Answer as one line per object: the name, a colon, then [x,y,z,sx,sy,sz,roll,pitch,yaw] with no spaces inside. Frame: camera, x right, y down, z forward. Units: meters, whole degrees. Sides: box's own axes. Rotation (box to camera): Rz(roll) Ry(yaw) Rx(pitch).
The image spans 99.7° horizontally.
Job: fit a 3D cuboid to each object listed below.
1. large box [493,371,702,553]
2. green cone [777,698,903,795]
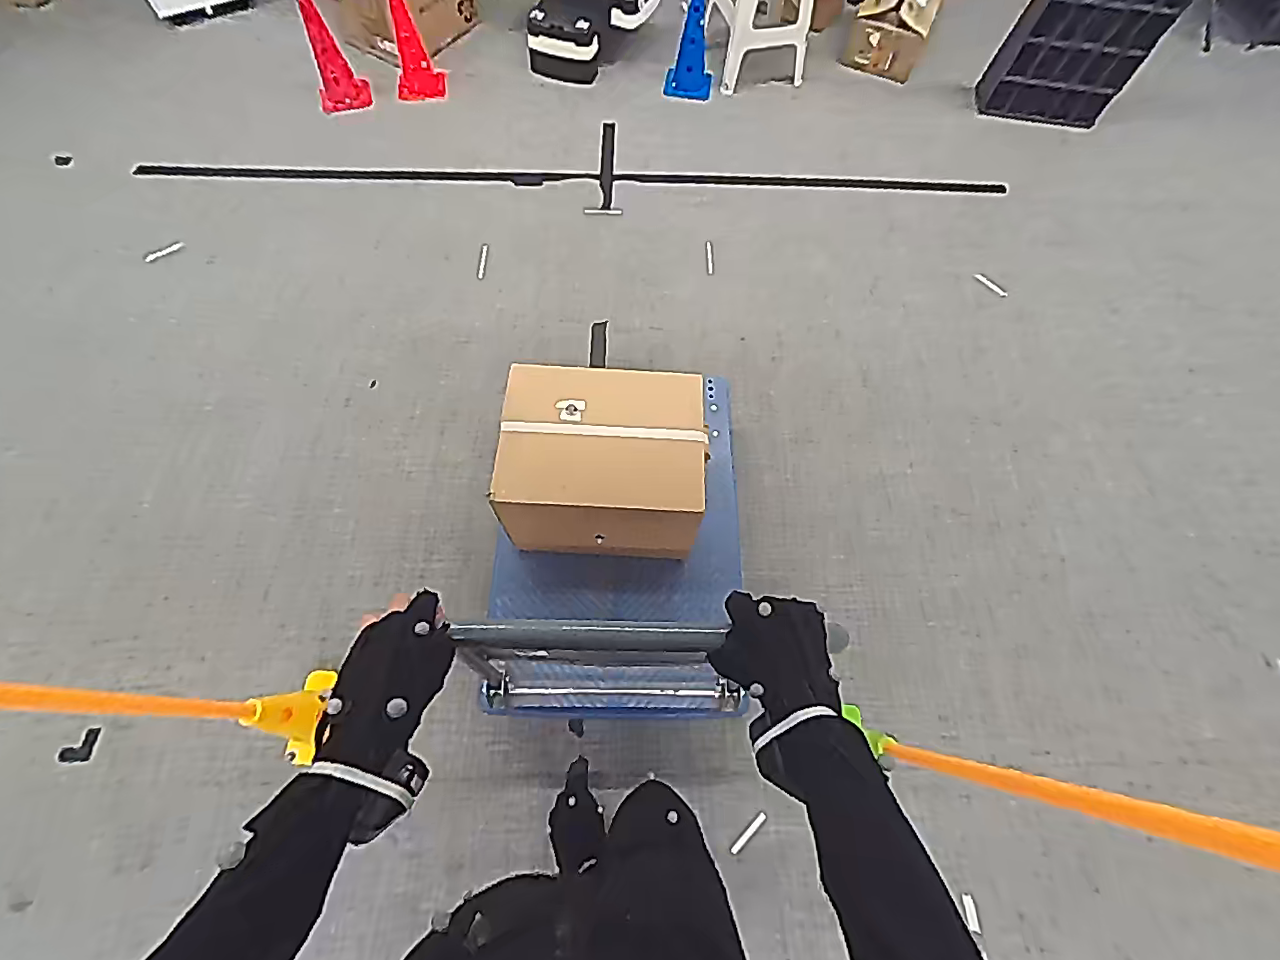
large box: [-0.078,-0.026,1.220,0.408,0.320,0.320,3,65,0]
green cone: [0.437,0.558,1.128,0.202,0.368,0.200,5,65,-1]
